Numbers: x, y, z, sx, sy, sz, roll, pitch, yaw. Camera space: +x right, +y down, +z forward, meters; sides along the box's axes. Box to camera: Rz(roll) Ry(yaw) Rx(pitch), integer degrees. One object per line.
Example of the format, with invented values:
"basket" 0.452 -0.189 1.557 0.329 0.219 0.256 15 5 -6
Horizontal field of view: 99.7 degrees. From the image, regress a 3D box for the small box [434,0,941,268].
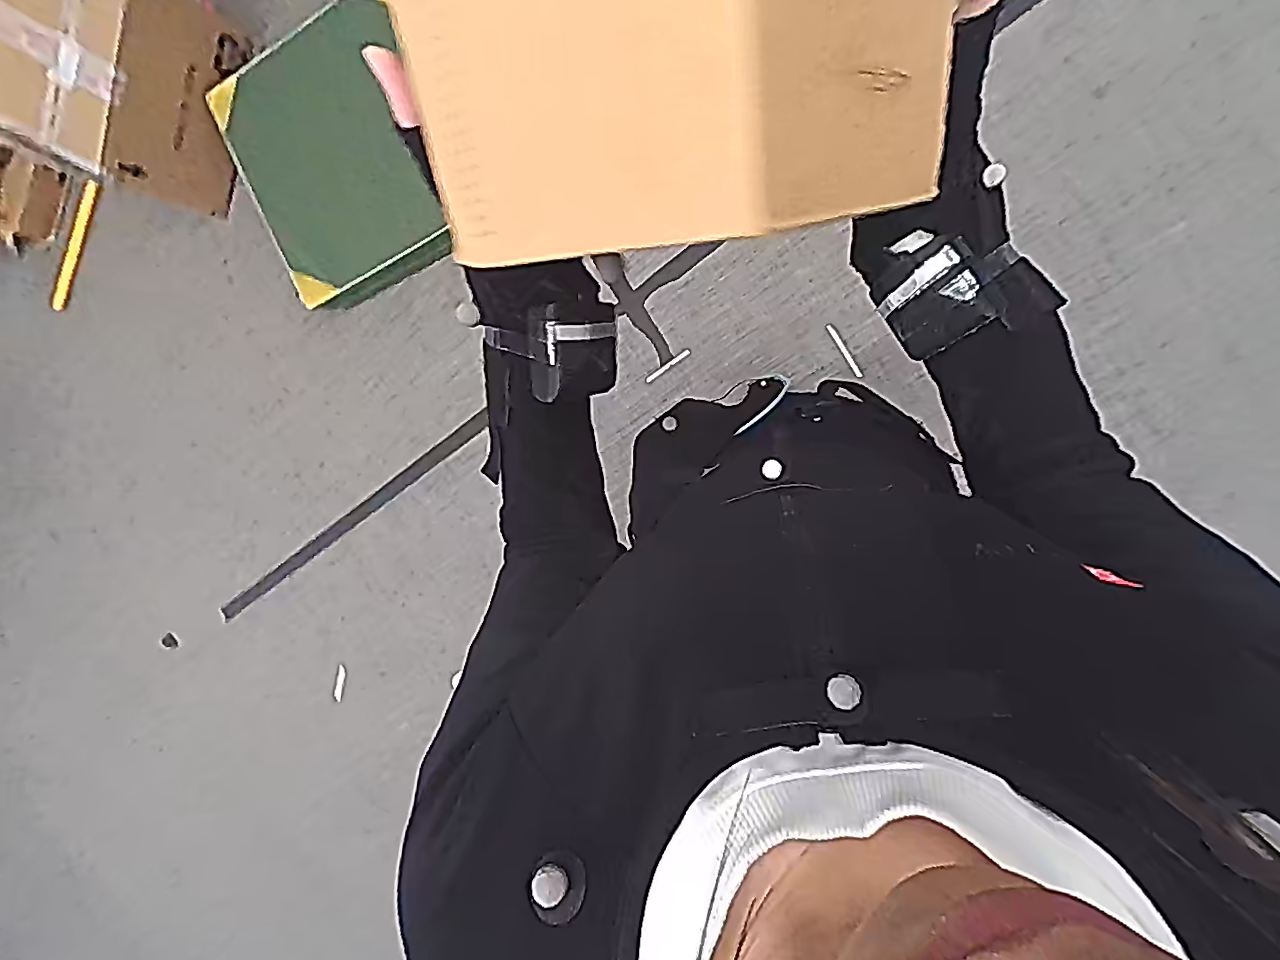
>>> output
"small box" 0.022 -0.202 0.241 0.176 0.168 0.179 13 122 38
